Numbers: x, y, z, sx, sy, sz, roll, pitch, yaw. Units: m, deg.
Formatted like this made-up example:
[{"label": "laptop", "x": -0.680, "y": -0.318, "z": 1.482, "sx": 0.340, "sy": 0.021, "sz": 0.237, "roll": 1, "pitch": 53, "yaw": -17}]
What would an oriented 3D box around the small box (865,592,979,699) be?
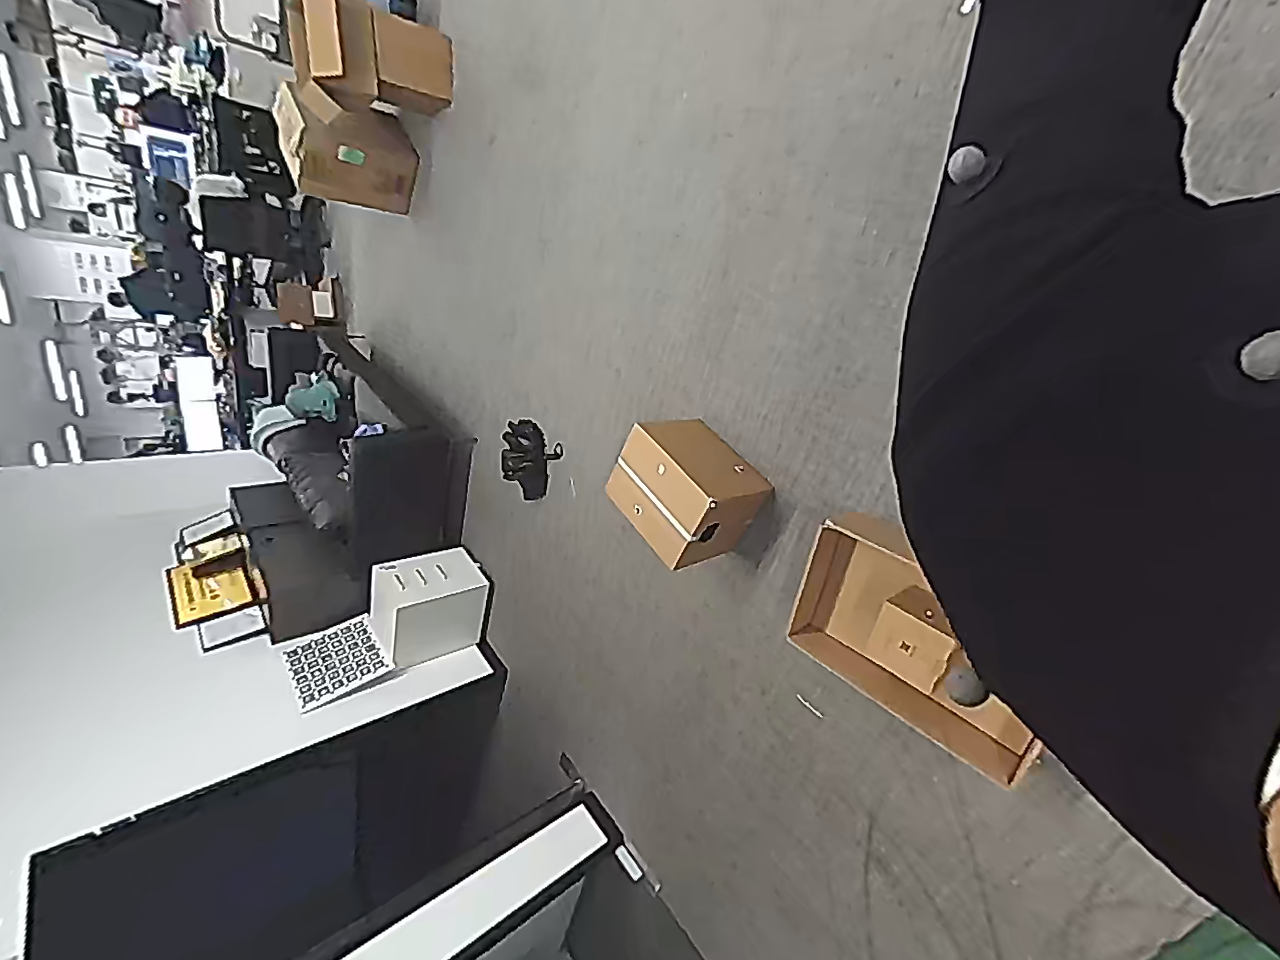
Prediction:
[{"label": "small box", "x": 0.707, "y": 0.403, "z": 1.353, "sx": 0.179, "sy": 0.176, "sz": 0.168, "roll": 32, "pitch": 119, "yaw": 42}]
